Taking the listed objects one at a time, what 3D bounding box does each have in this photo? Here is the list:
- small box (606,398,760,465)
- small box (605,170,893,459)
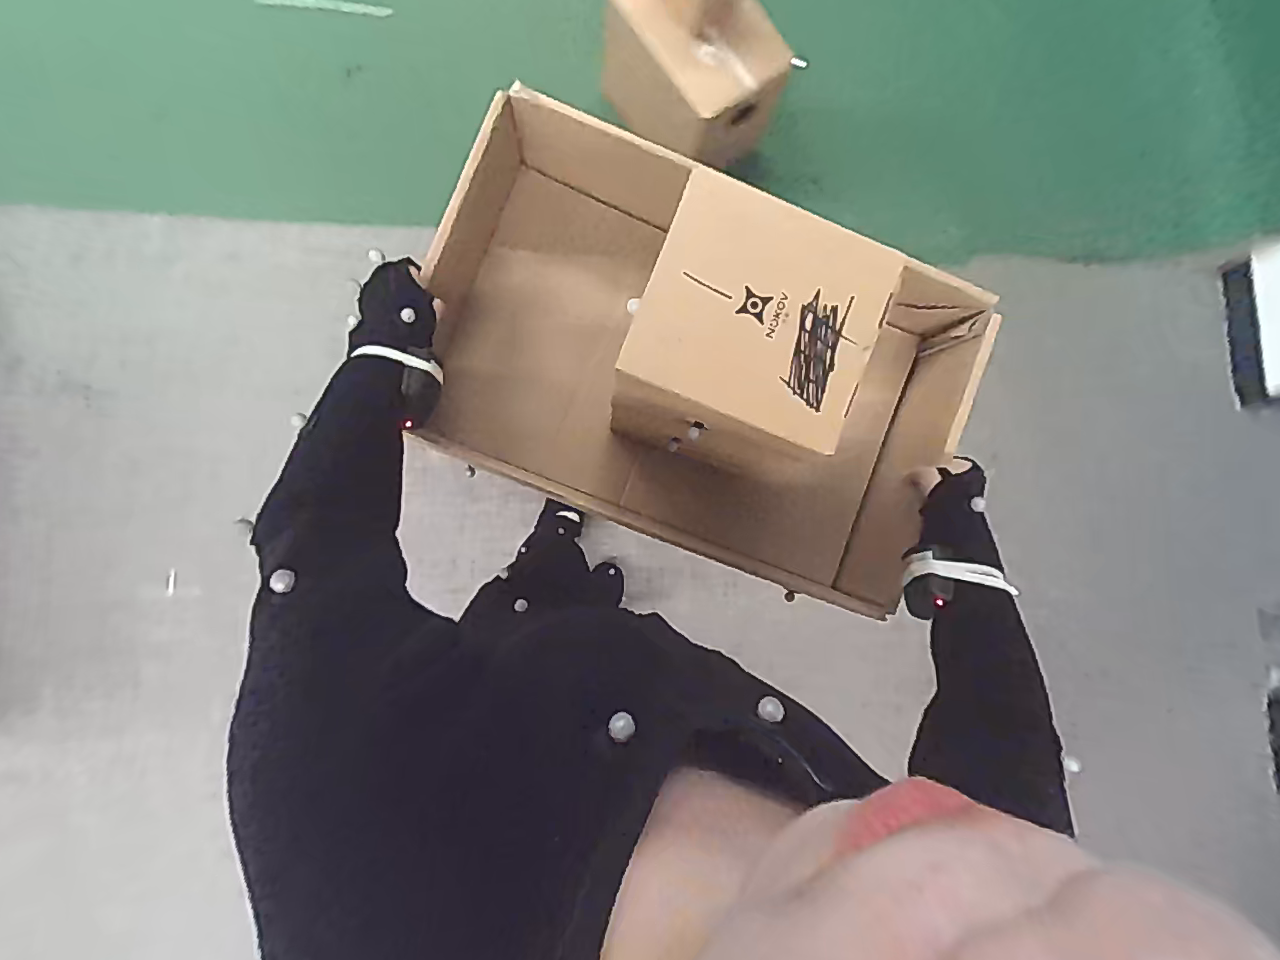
[{"bbox_3d":[0.066,-0.120,0.642,0.179,0.176,0.168,20,88,-4],"label":"small box"},{"bbox_3d":[0.078,-0.122,0.478,0.179,0.176,0.168,20,87,-3],"label":"small box"}]
